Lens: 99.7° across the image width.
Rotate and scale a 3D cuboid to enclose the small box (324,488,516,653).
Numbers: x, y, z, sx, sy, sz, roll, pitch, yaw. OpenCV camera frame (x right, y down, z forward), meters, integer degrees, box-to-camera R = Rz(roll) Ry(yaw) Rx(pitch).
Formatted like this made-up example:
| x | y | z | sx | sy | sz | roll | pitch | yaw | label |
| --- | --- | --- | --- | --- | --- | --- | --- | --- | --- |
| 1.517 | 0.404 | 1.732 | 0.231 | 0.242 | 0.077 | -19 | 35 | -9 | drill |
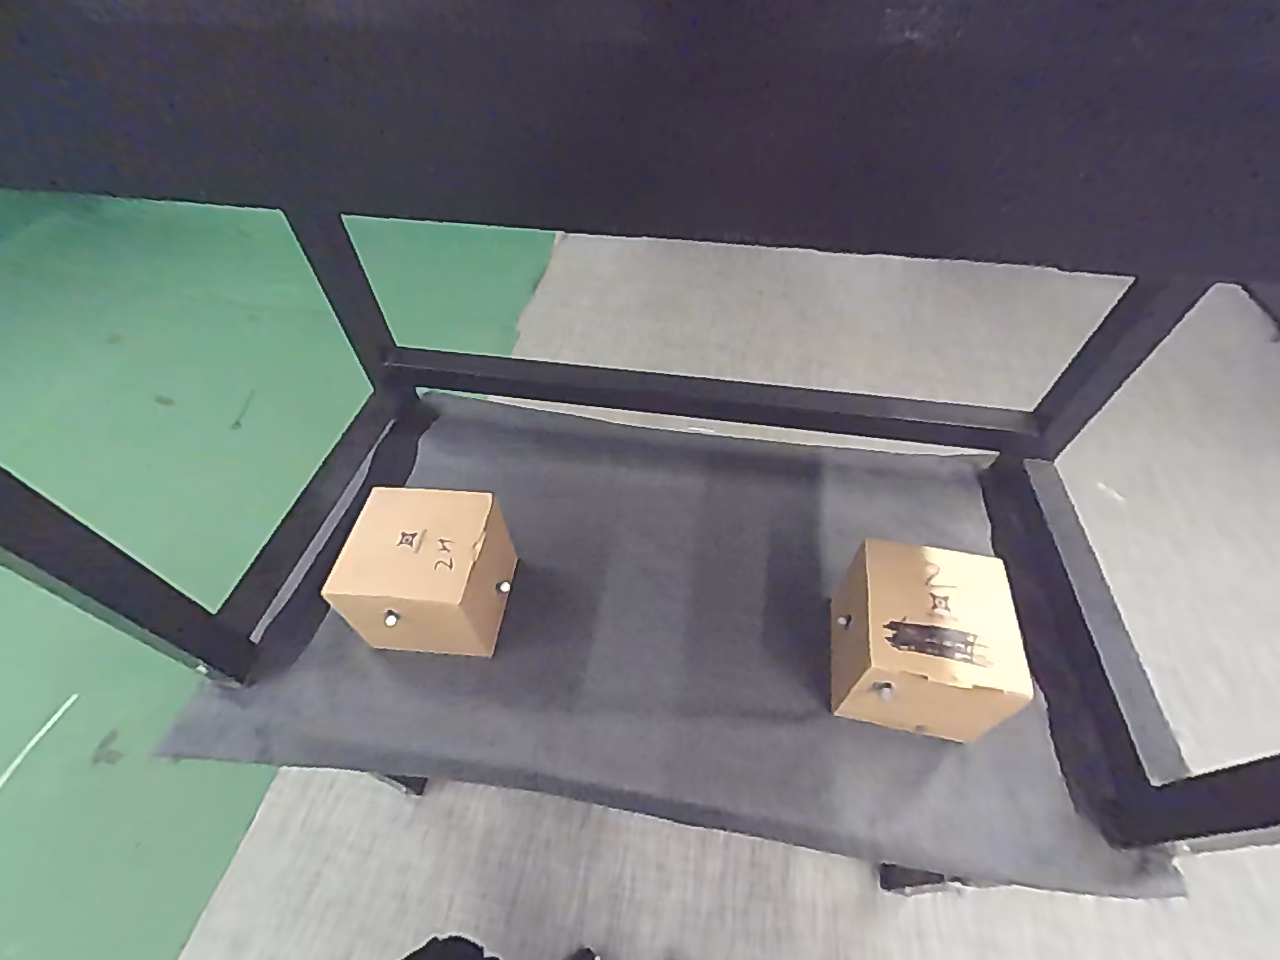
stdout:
| x | y | z | sx | sy | sz | roll | pitch | yaw | label |
| --- | --- | --- | --- | --- | --- | --- | --- | --- | --- |
| -0.289 | 0.130 | 0.759 | 0.179 | 0.176 | 0.168 | 4 | 51 | 3 | small box |
